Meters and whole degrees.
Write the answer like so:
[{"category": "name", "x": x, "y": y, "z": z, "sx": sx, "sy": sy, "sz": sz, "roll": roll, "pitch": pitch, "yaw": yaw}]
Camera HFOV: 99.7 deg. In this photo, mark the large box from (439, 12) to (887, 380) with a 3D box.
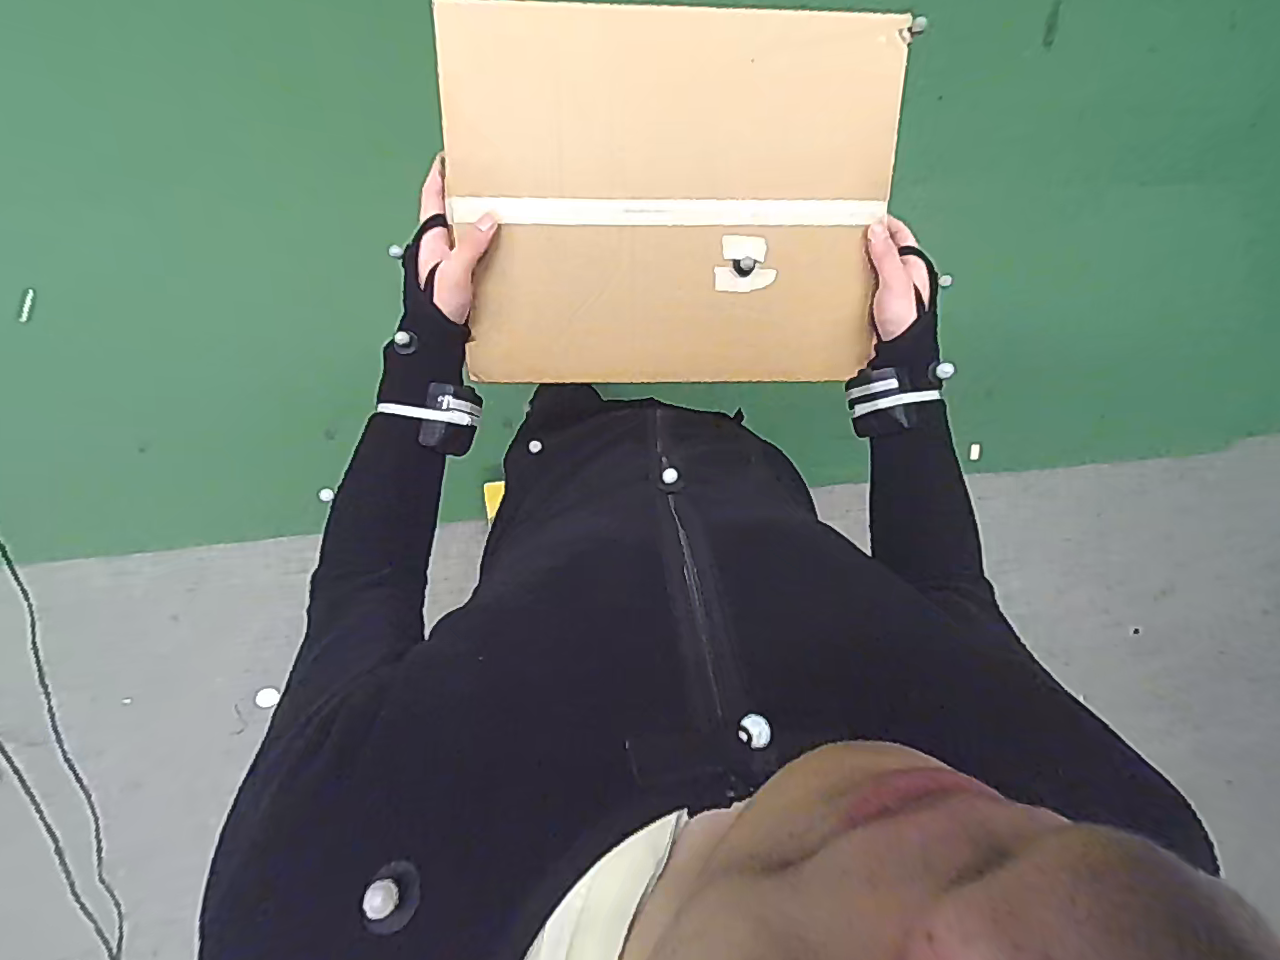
[{"category": "large box", "x": 0.016, "y": -0.298, "z": 0.655, "sx": 0.408, "sy": 0.320, "sz": 0.320, "roll": -2, "pitch": 107, "yaw": -4}]
